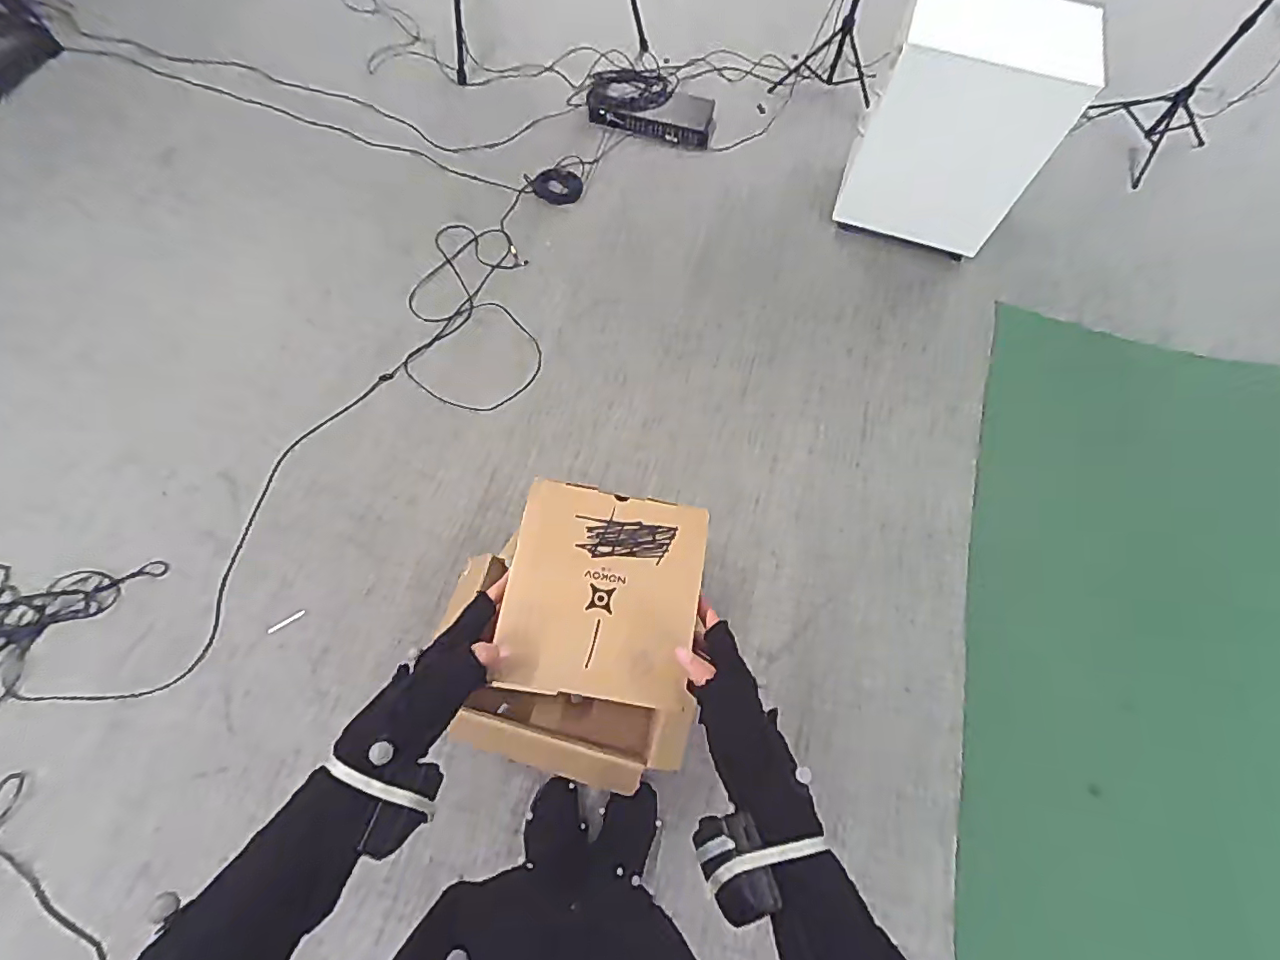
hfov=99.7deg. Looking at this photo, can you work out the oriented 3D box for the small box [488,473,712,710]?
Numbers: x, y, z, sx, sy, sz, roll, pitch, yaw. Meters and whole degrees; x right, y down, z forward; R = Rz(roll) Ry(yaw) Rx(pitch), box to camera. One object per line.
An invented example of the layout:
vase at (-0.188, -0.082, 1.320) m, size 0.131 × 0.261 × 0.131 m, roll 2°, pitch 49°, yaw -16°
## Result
small box at (-0.036, 0.112, 0.536) m, size 0.168 × 0.176 × 0.179 m, roll 11°, pitch 73°, yaw -1°
